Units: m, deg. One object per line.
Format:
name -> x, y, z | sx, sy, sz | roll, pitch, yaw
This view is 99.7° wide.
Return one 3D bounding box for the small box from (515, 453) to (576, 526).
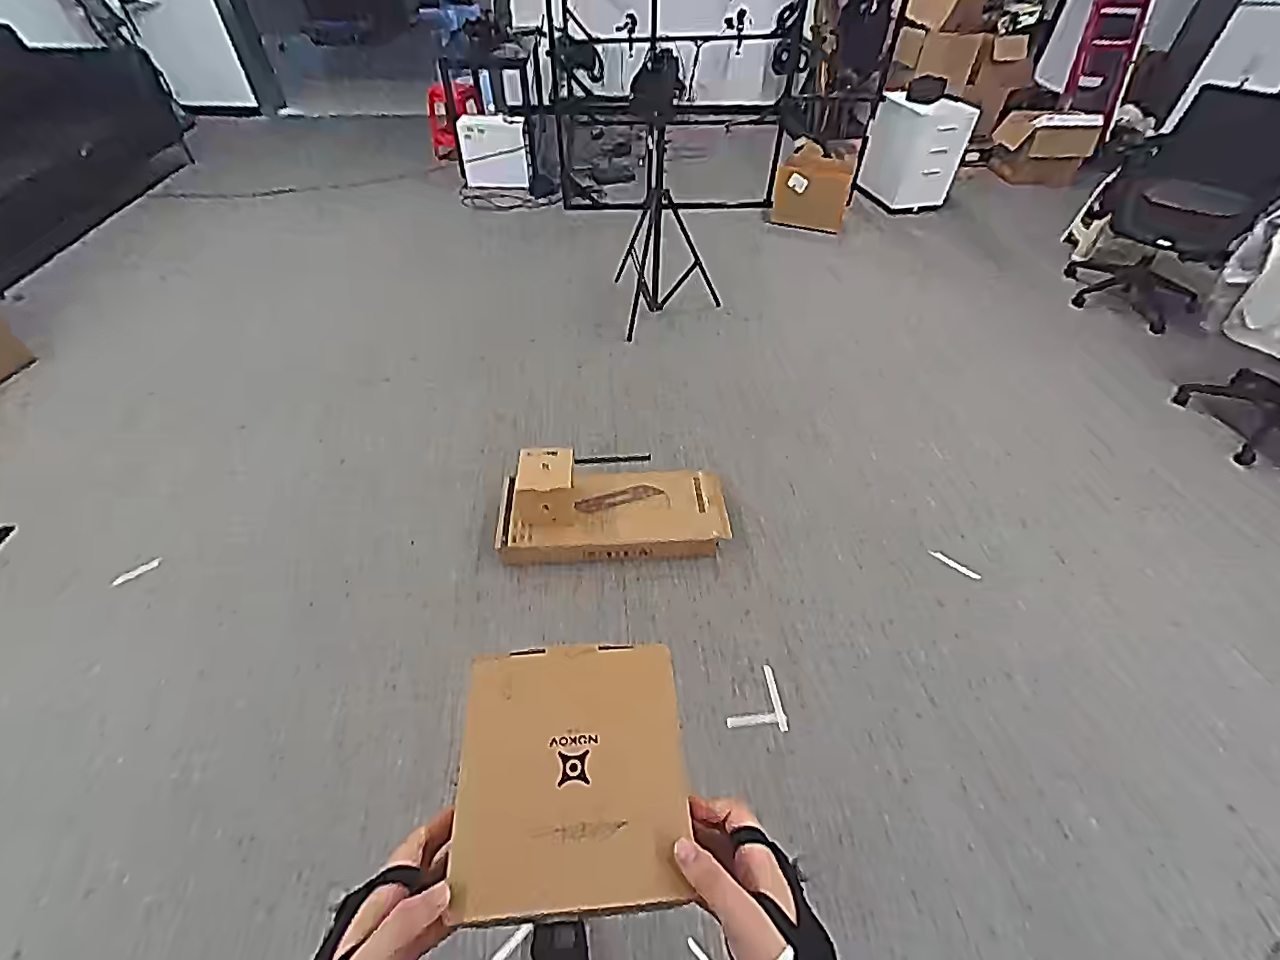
small box -> -0.292, 0.034, 1.715 | 0.168, 0.176, 0.179 | -1, 47, -3
